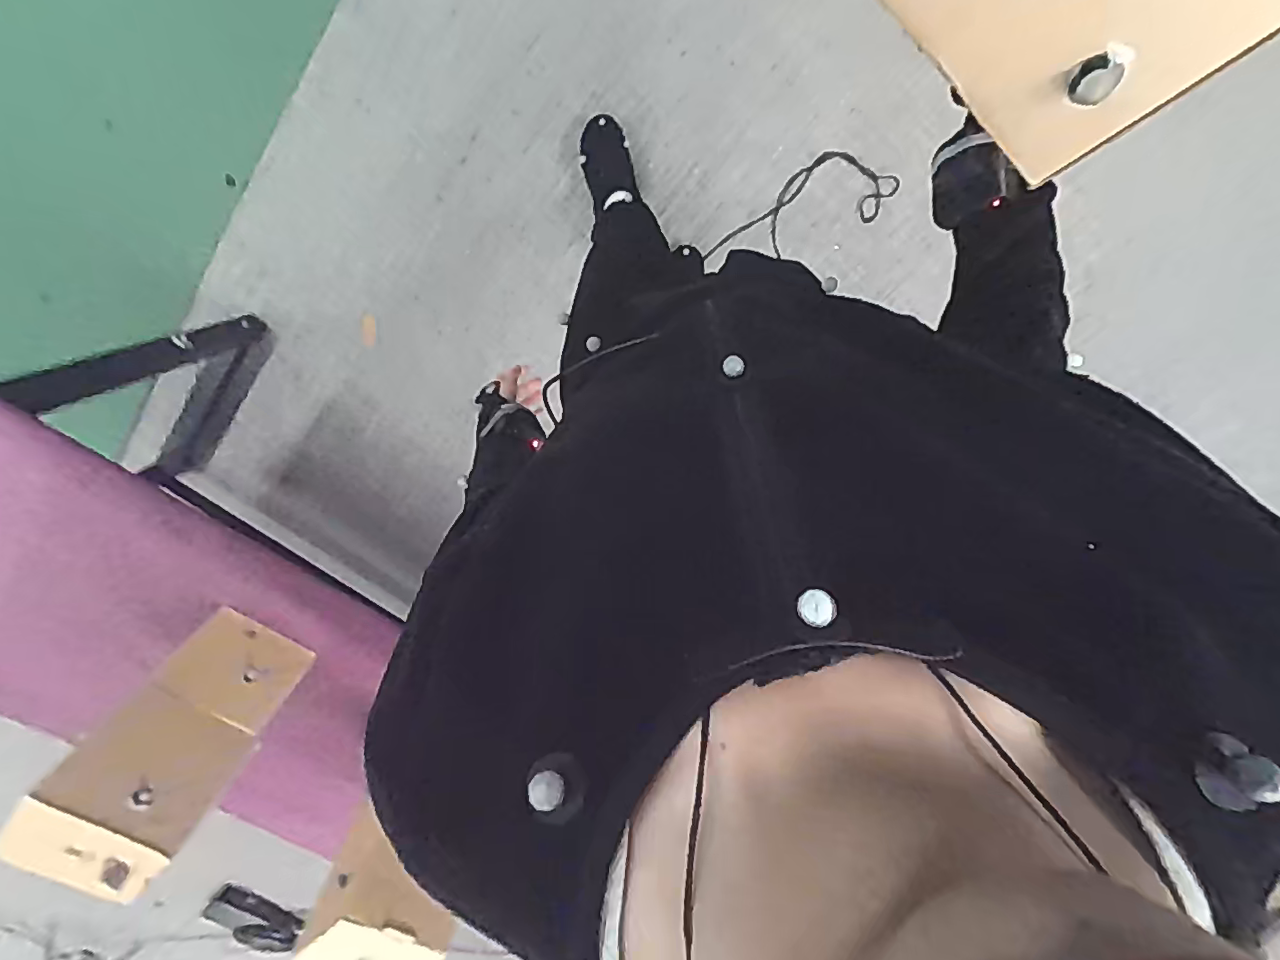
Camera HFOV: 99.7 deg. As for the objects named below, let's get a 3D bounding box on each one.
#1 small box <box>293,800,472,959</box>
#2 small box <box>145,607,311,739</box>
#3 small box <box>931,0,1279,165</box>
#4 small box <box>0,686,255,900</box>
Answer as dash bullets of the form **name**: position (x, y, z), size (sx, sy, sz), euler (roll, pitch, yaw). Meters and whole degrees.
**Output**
- **small box**: position (-0.383, 0.641, 0.841), size (0.168, 0.176, 0.179), euler (39, 110, -17)
- **small box**: position (-0.677, 0.341, 0.879), size (0.168, 0.176, 0.179), euler (37, 113, -17)
- **small box**: position (0.241, -0.313, 0.260), size (0.176, 0.168, 0.179), euler (27, 149, -25)
- **small box**: position (-0.678, 0.416, 0.732), size (0.179, 0.176, 0.168), euler (40, 112, -17)
